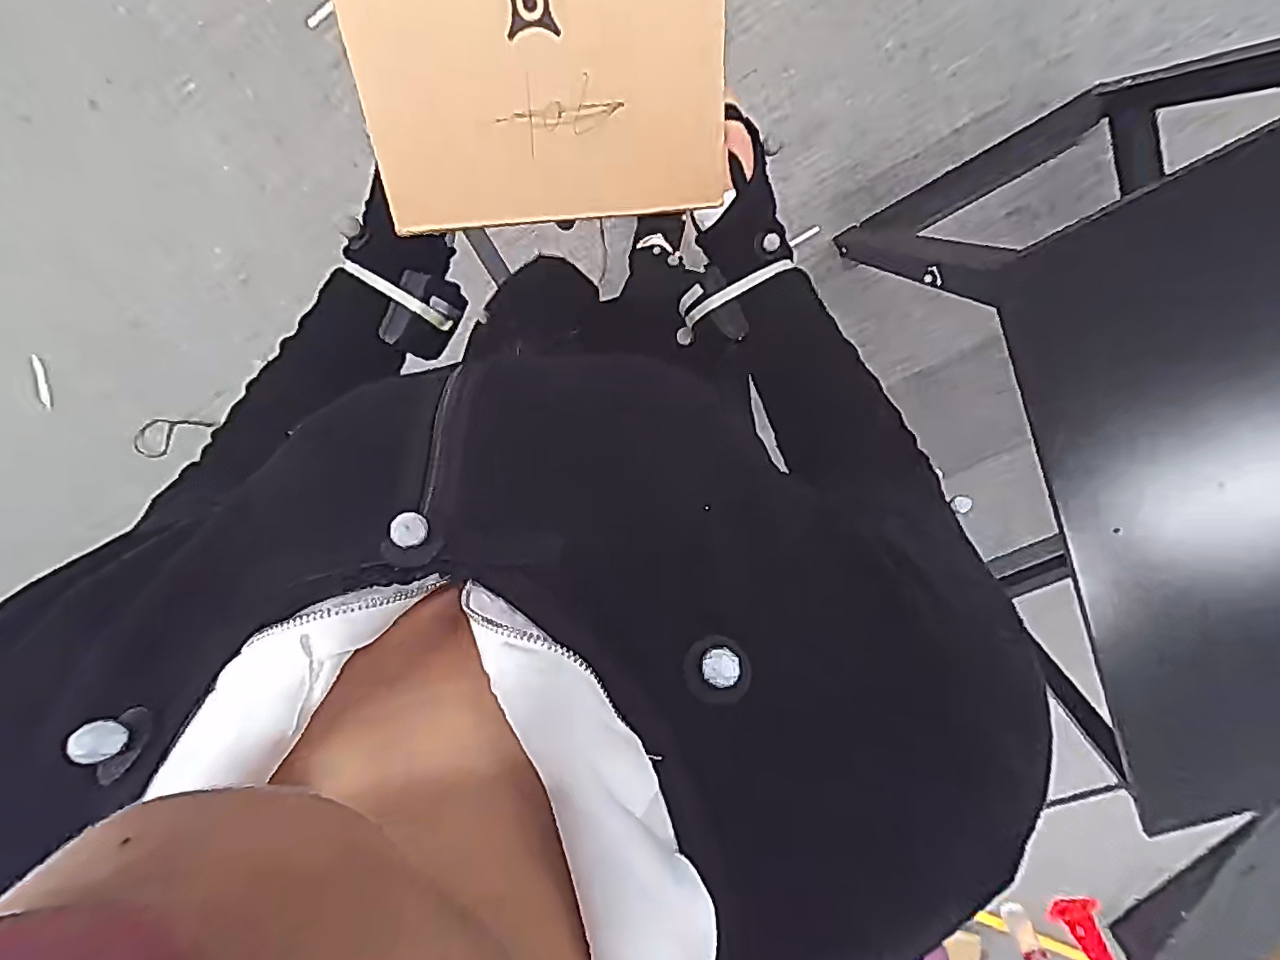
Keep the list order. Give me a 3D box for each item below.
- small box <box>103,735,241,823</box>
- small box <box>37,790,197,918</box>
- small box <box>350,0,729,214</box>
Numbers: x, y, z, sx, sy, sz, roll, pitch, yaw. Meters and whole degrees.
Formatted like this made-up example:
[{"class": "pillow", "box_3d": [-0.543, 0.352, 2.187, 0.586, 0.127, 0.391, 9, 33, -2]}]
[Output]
[{"class": "small box", "box_3d": [-1.220, 0.805, 1.422, 0.168, 0.176, 0.179, -35, 110, 14]}, {"class": "small box", "box_3d": [-1.212, 0.873, 1.271, 0.168, 0.176, 0.179, -35, 110, 14]}, {"class": "small box", "box_3d": [-0.045, -0.256, 0.297, 0.168, 0.176, 0.179, -4, 123, 2]}]
